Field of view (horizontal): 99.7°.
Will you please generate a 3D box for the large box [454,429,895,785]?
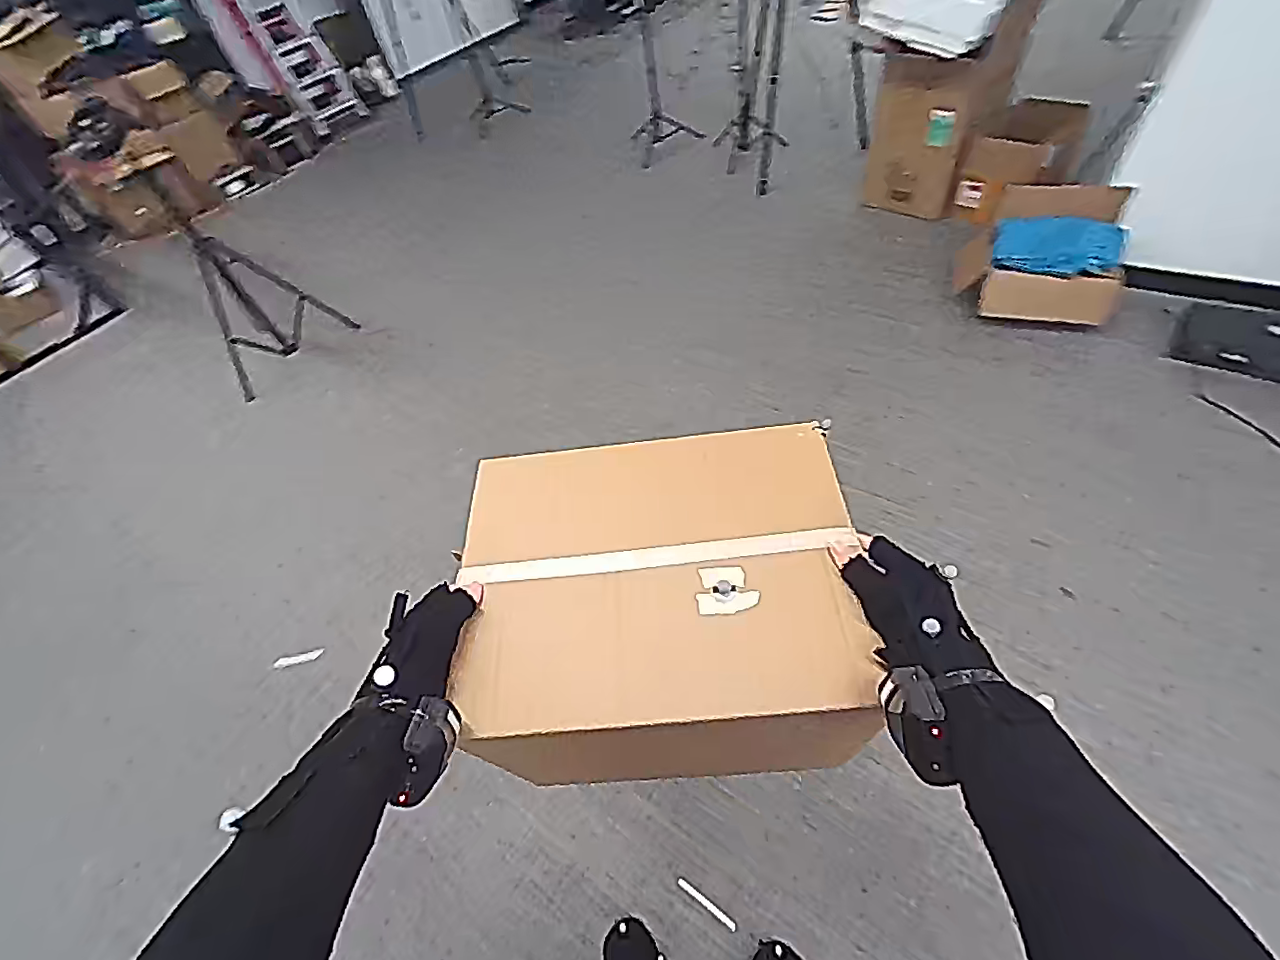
[{"bbox_3d":[0.032,0.172,0.683,0.408,0.320,0.320,-7,53,3],"label":"large box"}]
